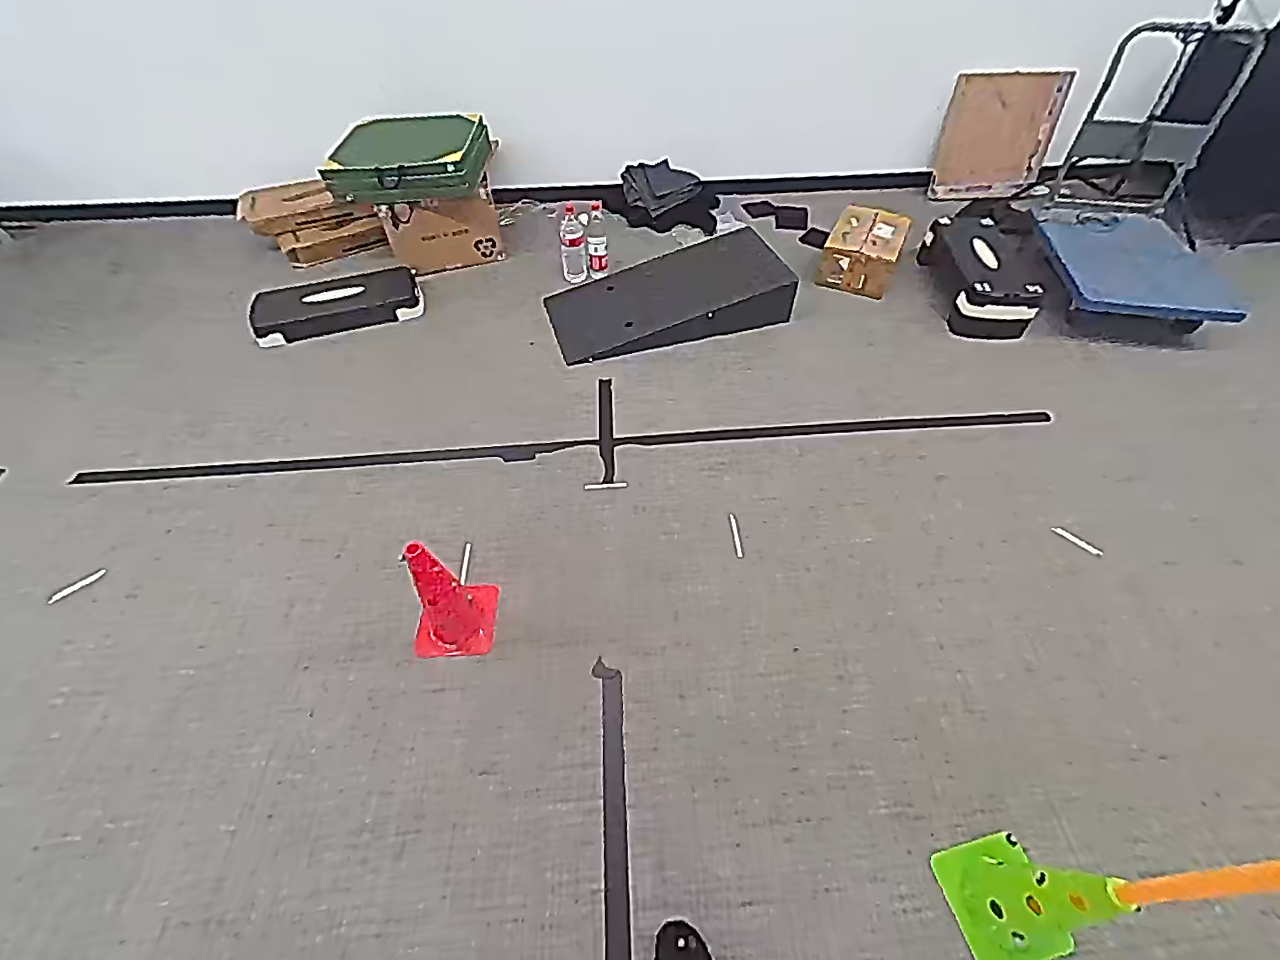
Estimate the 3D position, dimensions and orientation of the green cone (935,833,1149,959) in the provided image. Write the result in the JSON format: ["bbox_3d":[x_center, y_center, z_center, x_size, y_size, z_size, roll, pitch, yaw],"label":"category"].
[{"bbox_3d":[0.708,0.719,0.920,0.200,0.368,0.202,-12,53,-9],"label":"green cone"}]
